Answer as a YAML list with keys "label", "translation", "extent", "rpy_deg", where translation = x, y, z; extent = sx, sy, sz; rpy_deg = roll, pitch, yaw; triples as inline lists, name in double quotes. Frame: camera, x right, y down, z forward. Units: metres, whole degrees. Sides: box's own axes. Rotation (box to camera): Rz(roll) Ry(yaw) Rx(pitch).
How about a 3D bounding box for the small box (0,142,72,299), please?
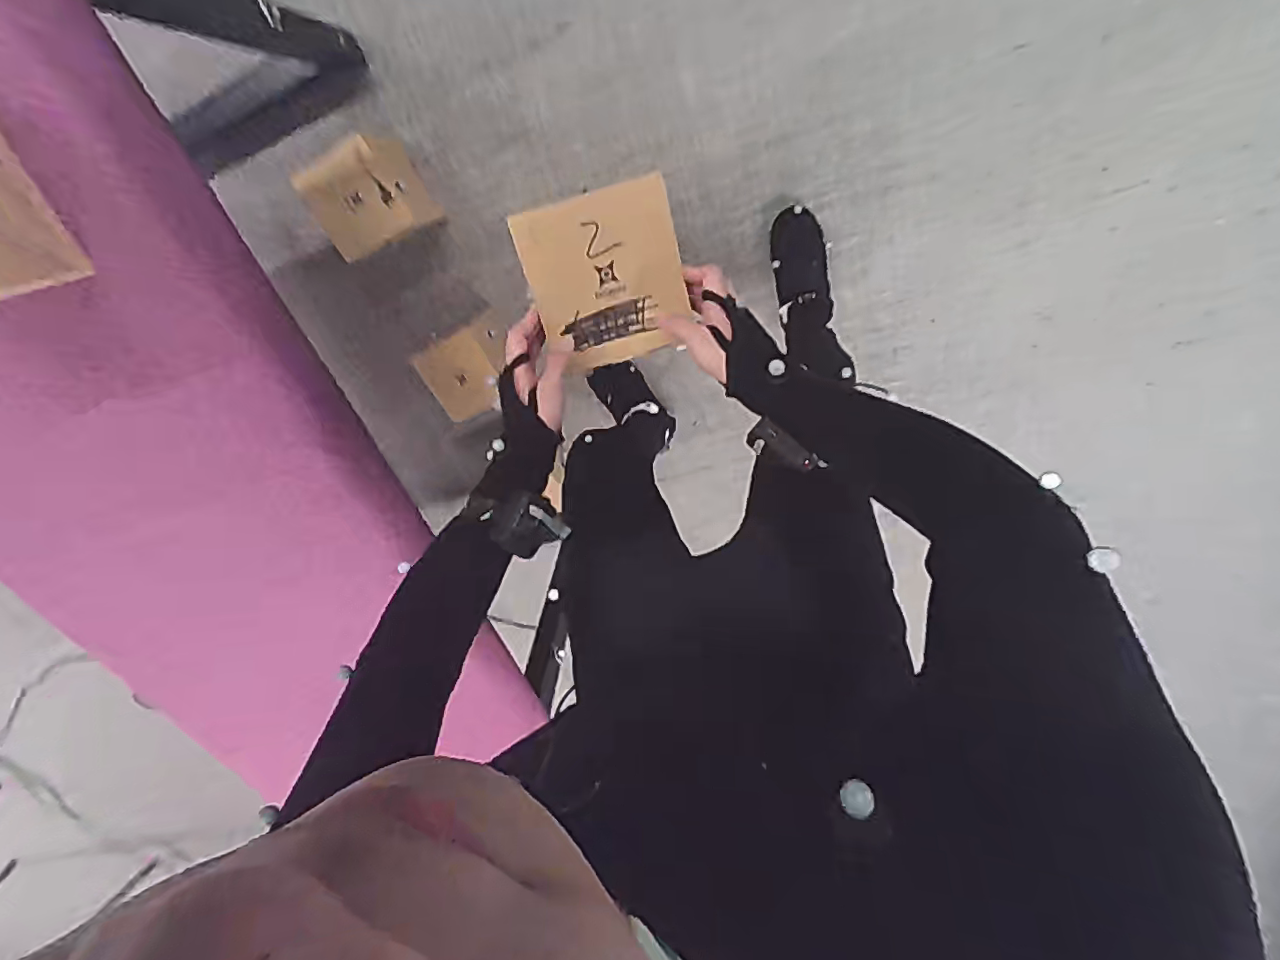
- label: "small box"
  translation: [-0.647, -0.221, 0.445]
  extent: [0.179, 0.176, 0.168]
  rpy_deg: [-10, 120, 10]

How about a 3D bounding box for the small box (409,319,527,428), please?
- label: "small box"
  translation: [-0.387, -0.254, 1.251]
  extent: [0.168, 0.176, 0.179]
  rpy_deg: [-22, 117, 16]

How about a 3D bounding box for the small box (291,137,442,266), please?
- label: "small box"
  translation: [-0.535, -0.555, 1.084]
  extent: [0.179, 0.176, 0.168]
  rpy_deg: [-22, 116, 15]

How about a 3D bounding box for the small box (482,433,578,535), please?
- label: "small box"
  translation: [-0.272, 0.005, 1.394]
  extent: [0.179, 0.176, 0.168]
  rpy_deg: [-24, 116, 16]
